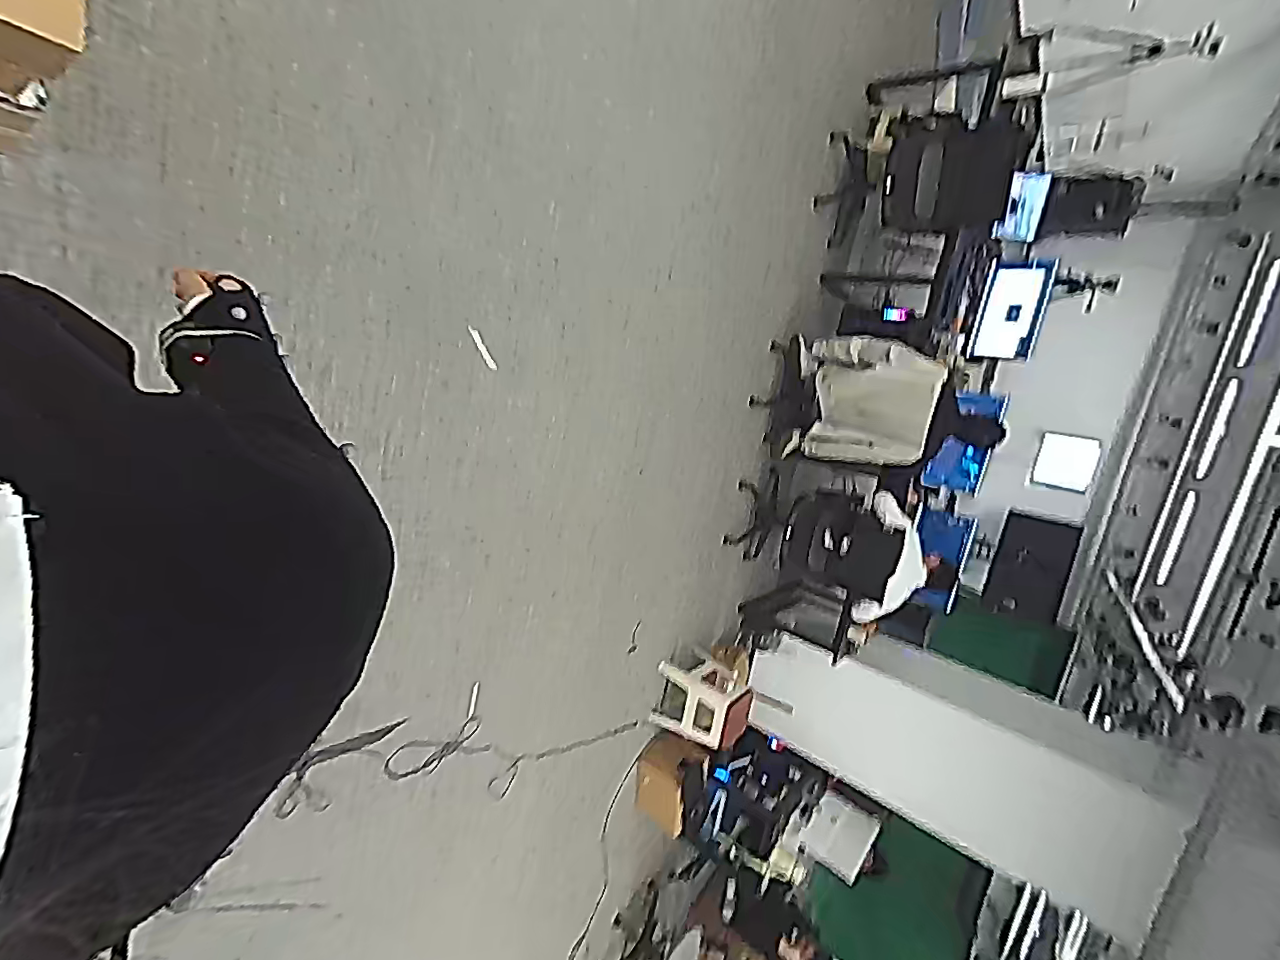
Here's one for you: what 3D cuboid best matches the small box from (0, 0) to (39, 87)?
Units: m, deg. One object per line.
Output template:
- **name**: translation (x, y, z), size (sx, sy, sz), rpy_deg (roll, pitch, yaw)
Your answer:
- **small box**: translation (-0.686, -0.504, 0.500), size (0.168, 0.176, 0.179), rpy_deg (-2, 107, -54)
